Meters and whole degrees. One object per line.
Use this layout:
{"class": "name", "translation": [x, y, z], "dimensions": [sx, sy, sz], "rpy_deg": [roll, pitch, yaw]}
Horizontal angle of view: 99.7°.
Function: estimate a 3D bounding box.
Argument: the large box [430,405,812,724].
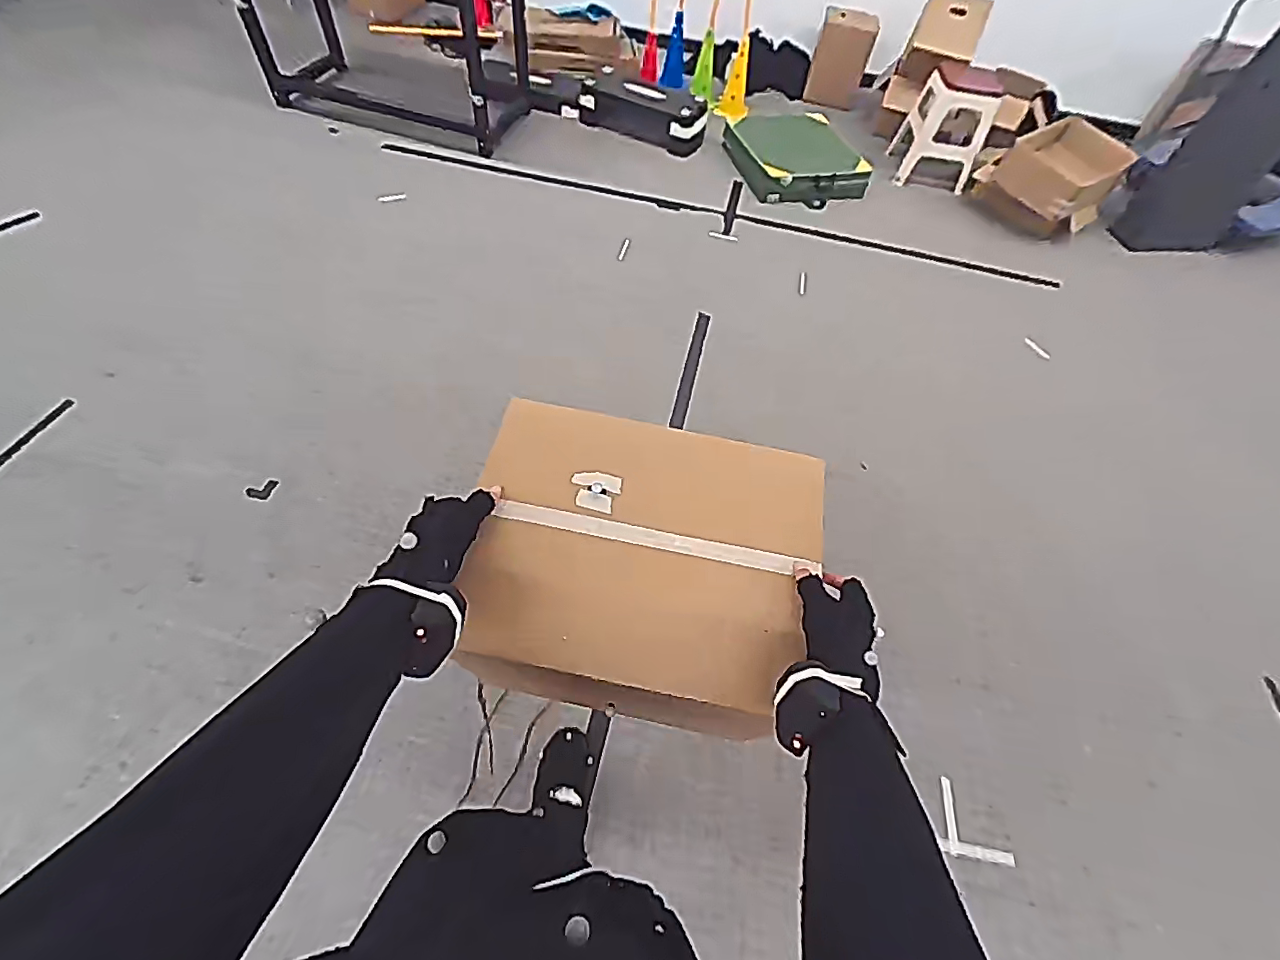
{"class": "large box", "translation": [-0.006, 0.136, 0.756], "dimensions": [0.408, 0.320, 0.320], "rpy_deg": [11, 61, 2]}
